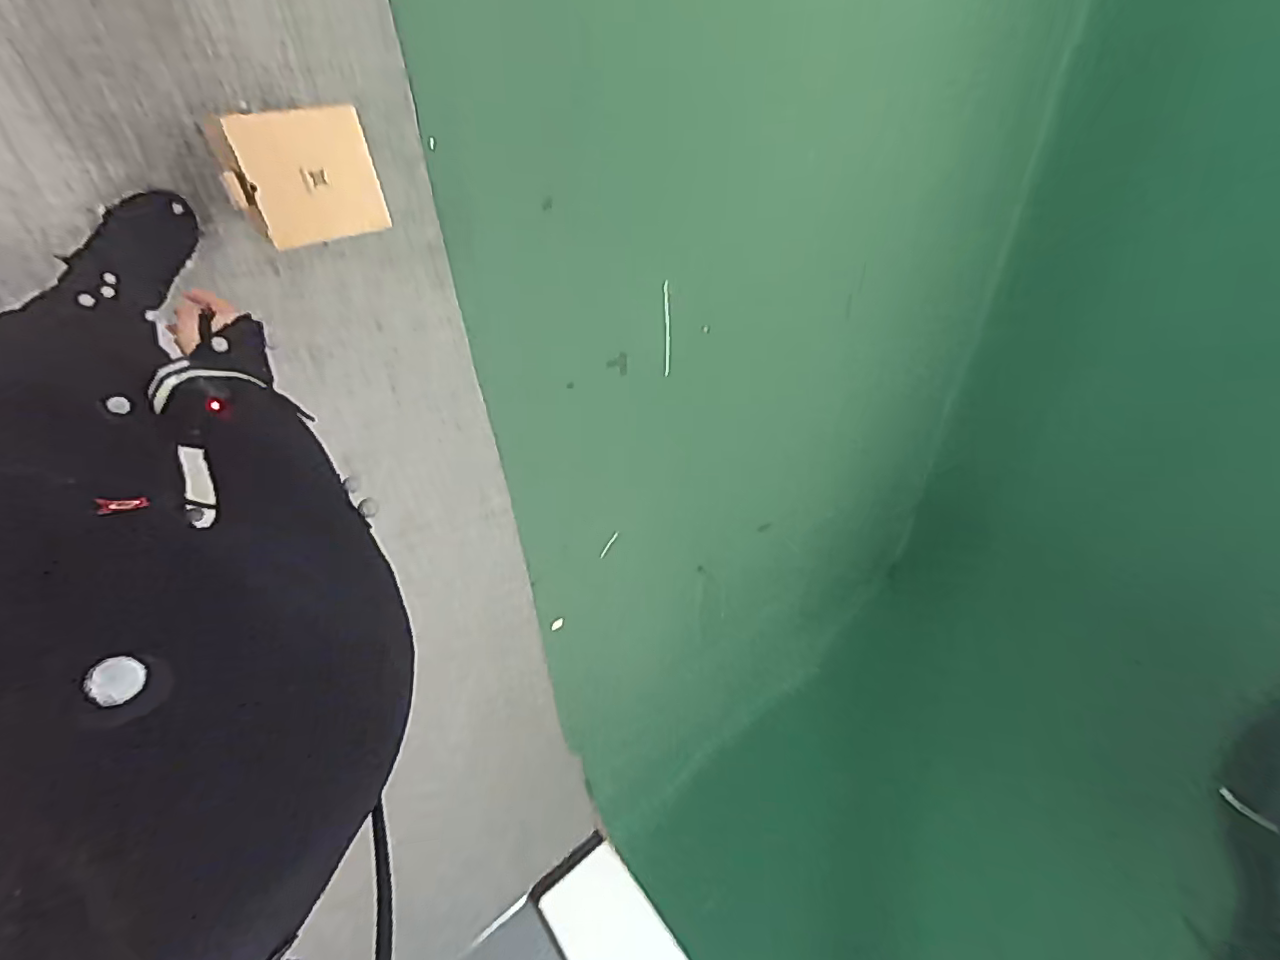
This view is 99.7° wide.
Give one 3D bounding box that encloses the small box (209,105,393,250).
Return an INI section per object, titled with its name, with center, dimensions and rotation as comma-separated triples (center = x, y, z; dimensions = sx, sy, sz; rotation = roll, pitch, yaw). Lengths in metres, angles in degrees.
[small box]
center = -0.518, -0.471, 0.831
dimensions = 0.179, 0.176, 0.168
rotation = -28, 133, -27
